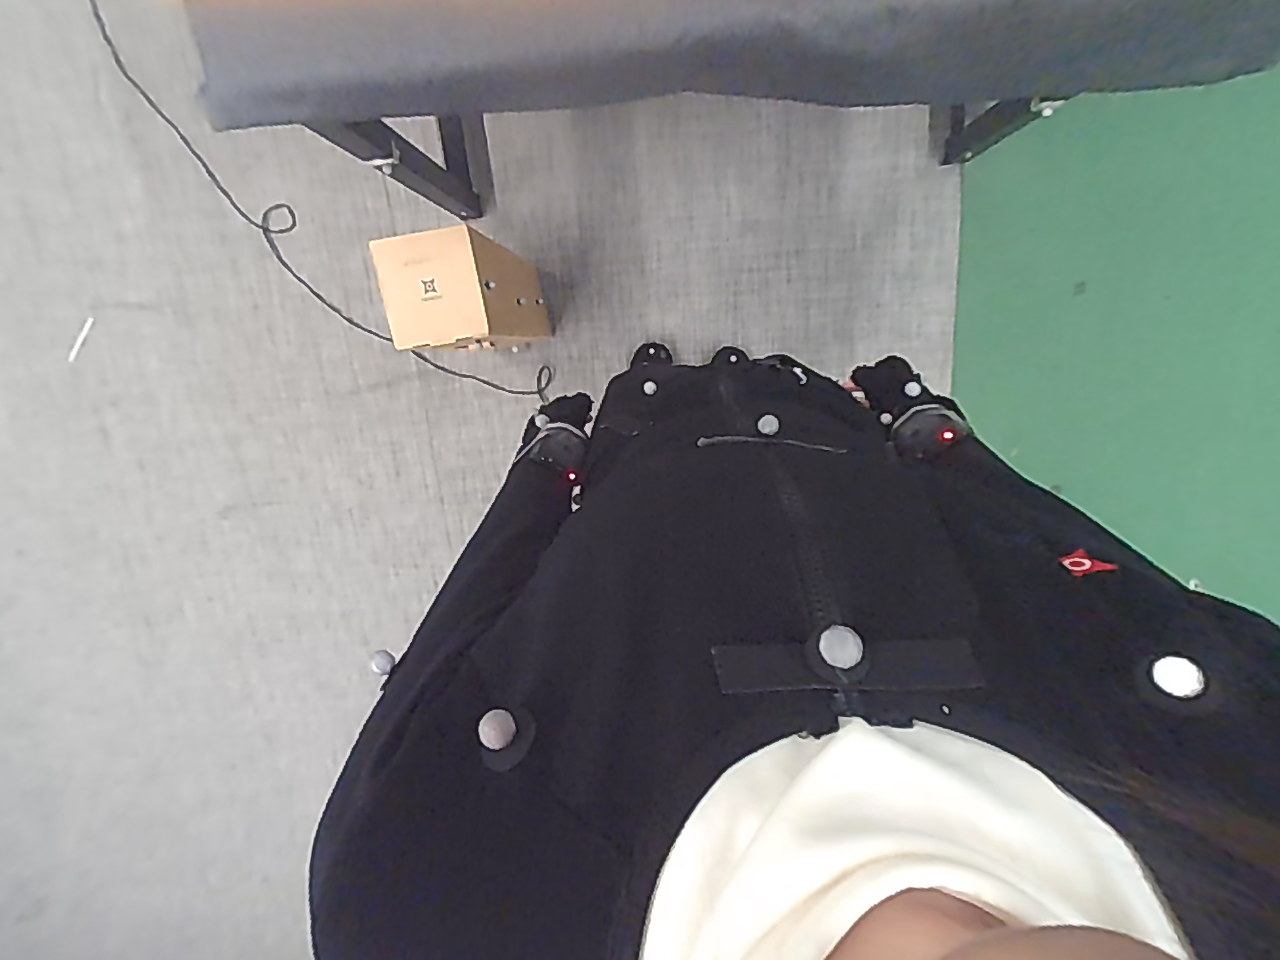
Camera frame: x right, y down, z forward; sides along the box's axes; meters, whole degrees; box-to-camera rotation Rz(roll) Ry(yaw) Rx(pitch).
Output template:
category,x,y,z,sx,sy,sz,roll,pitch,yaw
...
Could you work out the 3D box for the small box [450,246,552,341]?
category,x,y,z,sx,sy,sz,roll,pitch,yaw
small box,-0.318,-0.428,1.268,0.168,0.176,0.179,-11,105,6
